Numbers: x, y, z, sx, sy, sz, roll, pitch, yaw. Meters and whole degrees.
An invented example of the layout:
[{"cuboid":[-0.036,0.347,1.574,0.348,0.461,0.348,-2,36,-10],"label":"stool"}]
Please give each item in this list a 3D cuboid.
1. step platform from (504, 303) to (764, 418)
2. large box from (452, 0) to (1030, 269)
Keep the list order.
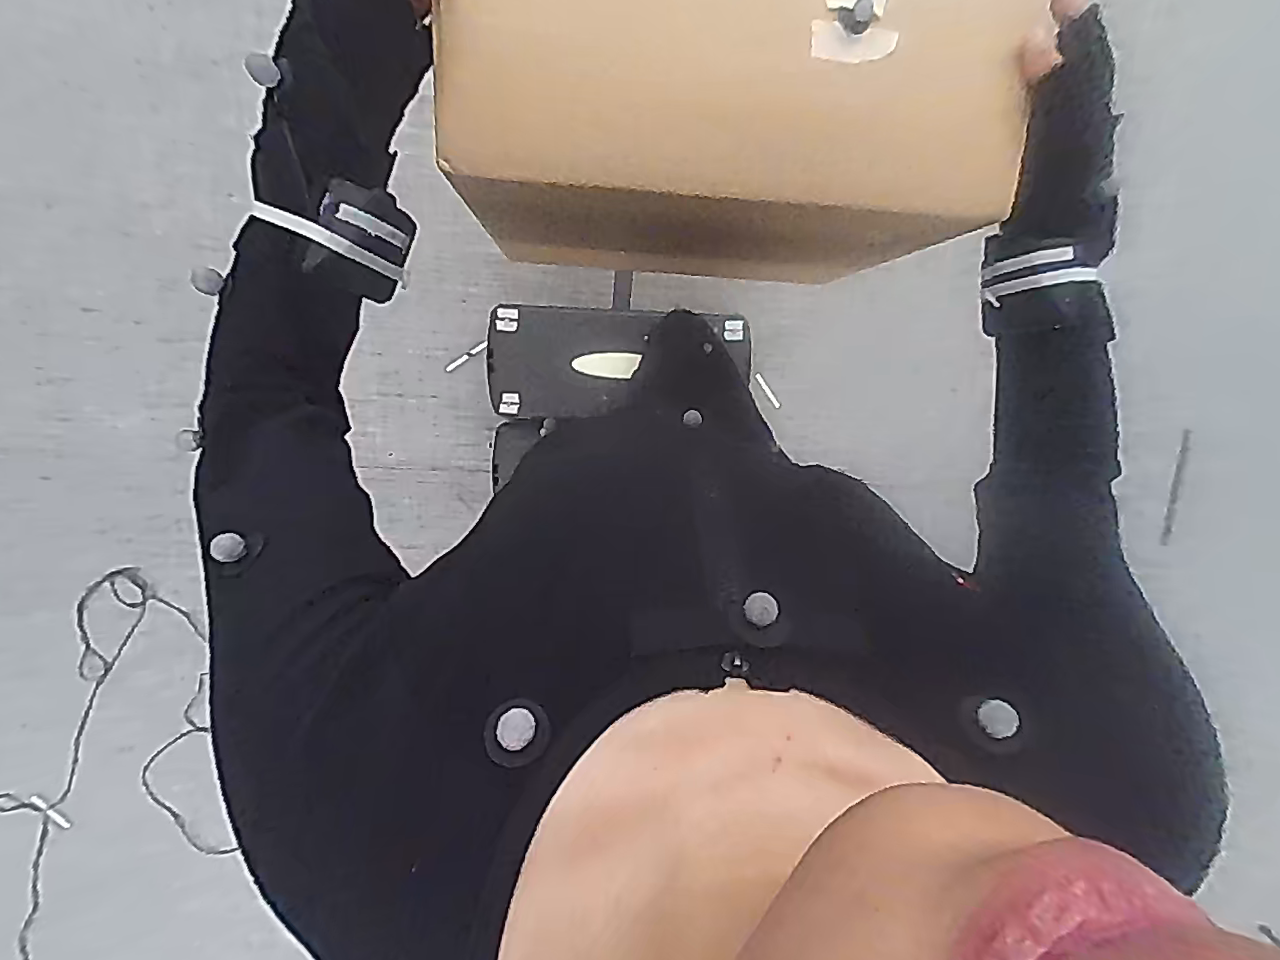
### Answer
[{"cuboid":[-0.015,-0.315,1.452,0.684,0.204,0.286,0,100,-6],"label":"step platform"},{"cuboid":[0.060,-0.390,0.500,0.408,0.320,0.320,1,102,-7],"label":"large box"}]
